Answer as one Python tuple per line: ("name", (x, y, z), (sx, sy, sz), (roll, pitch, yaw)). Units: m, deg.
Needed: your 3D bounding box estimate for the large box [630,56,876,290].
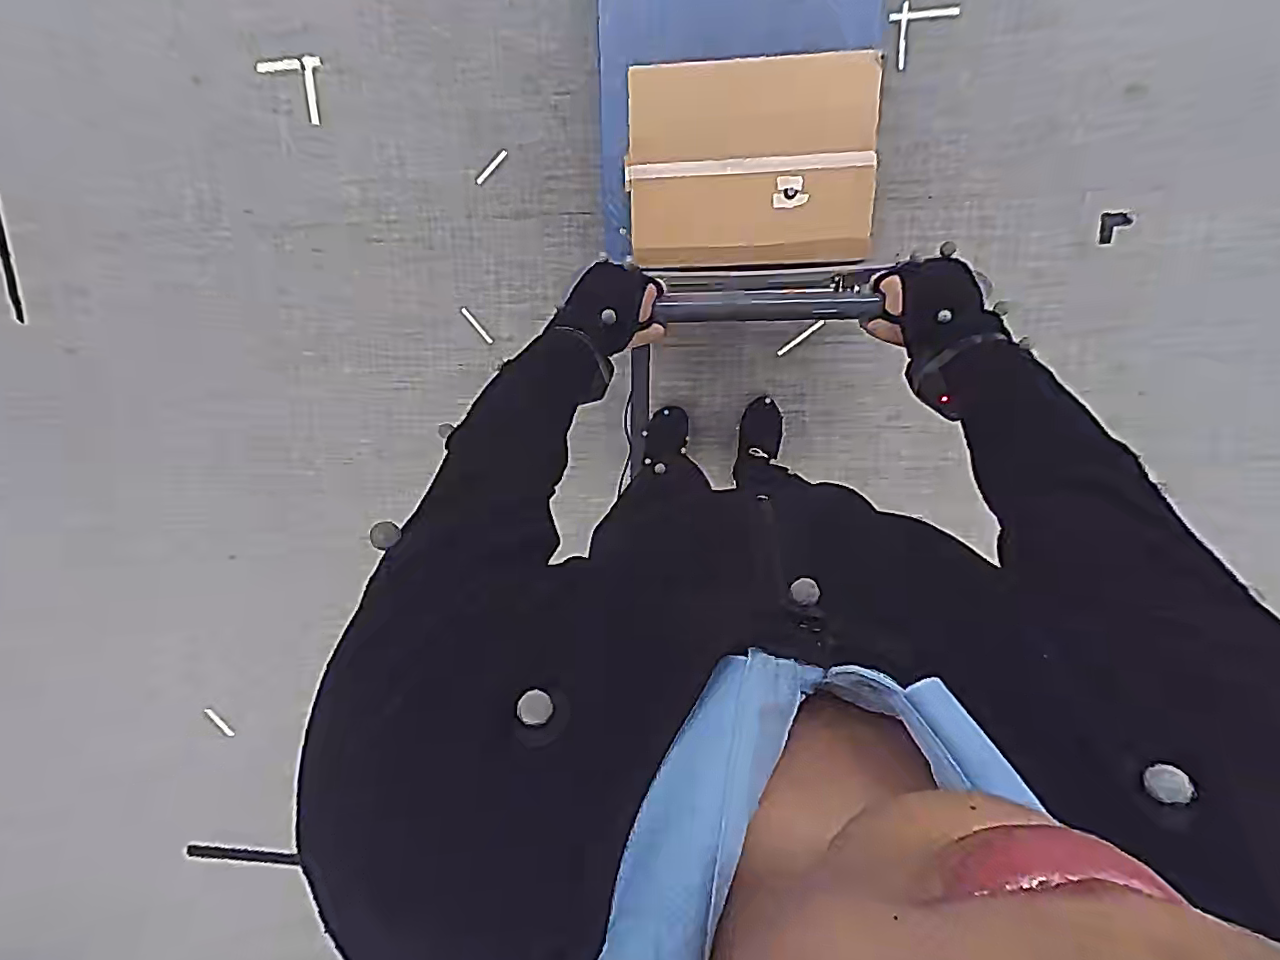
("large box", (0.197, -0.561, 1.061), (0.408, 0.320, 0.320), (-1, 105, 5))
